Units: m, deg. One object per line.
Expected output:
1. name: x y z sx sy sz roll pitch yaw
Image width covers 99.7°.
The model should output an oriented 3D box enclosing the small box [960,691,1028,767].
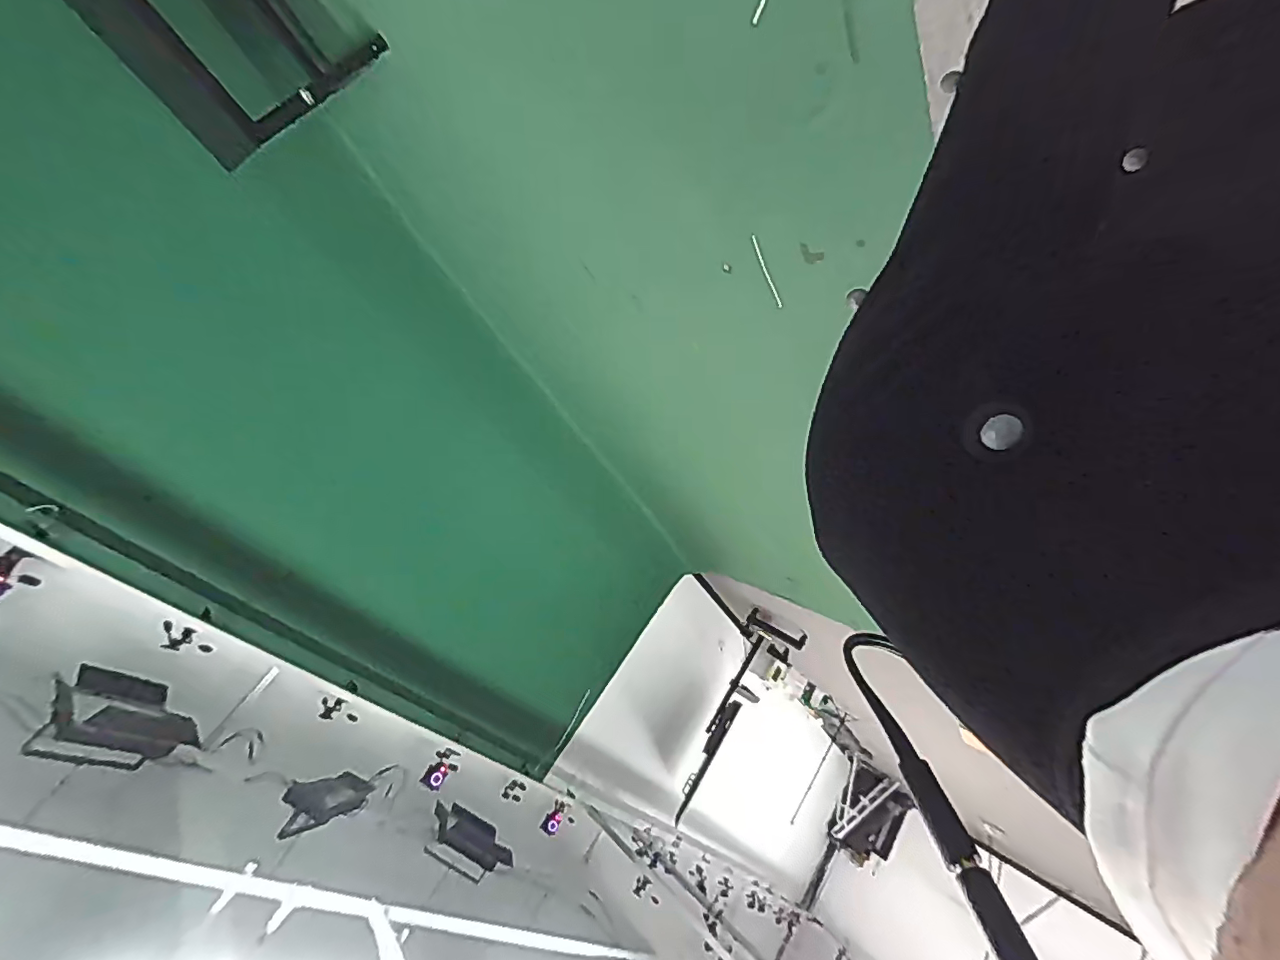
1. small box: 1.320 0.921 2.011 0.168 0.176 0.179 15 151 47
